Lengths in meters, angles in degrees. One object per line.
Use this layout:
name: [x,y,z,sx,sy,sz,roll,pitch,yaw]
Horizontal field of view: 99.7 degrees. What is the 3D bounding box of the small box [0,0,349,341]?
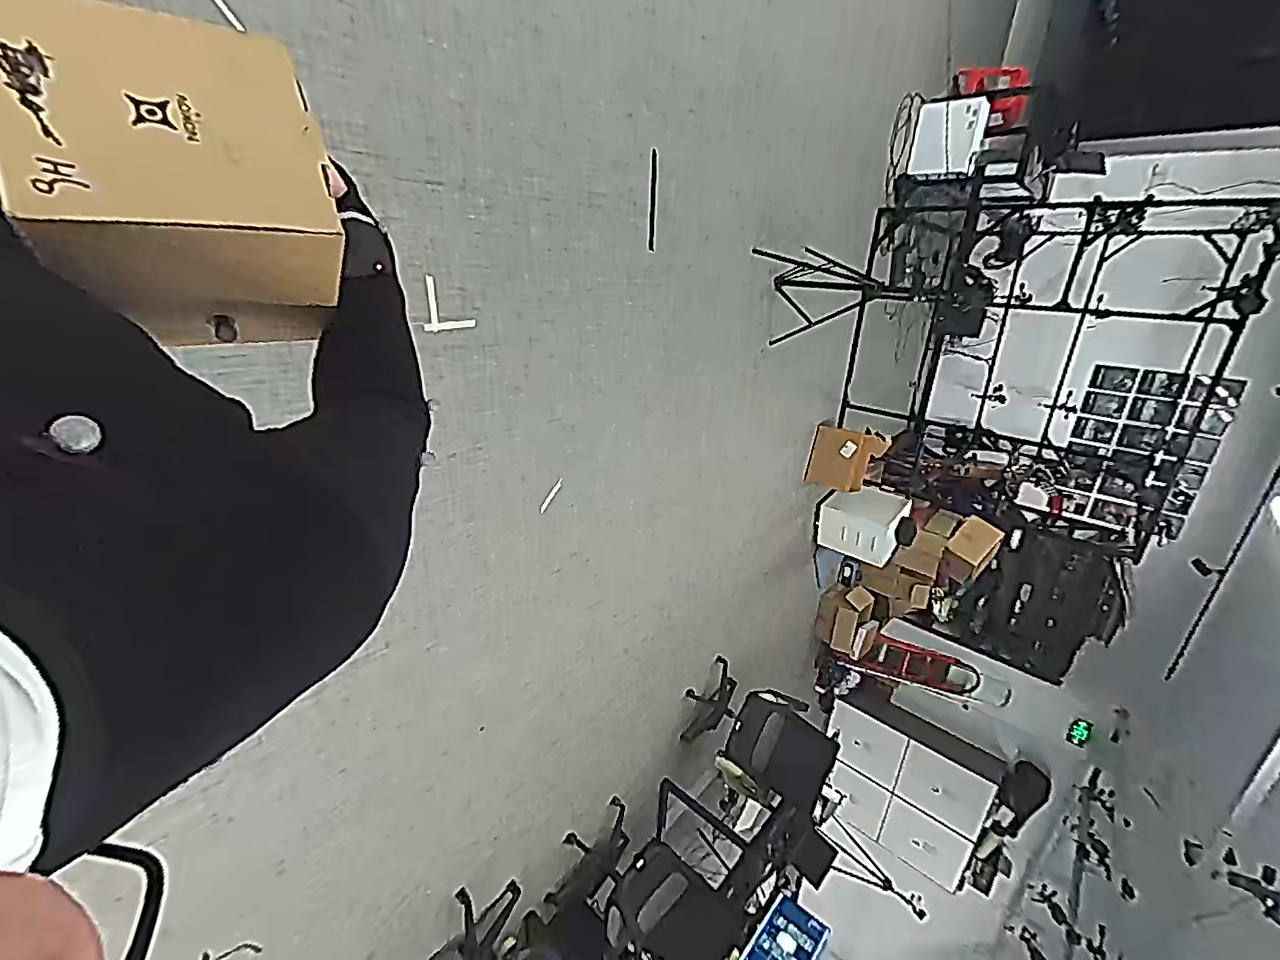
small box: [-0.362,-0.228,0.444,0.179,0.176,0.168,-14,83,-35]
